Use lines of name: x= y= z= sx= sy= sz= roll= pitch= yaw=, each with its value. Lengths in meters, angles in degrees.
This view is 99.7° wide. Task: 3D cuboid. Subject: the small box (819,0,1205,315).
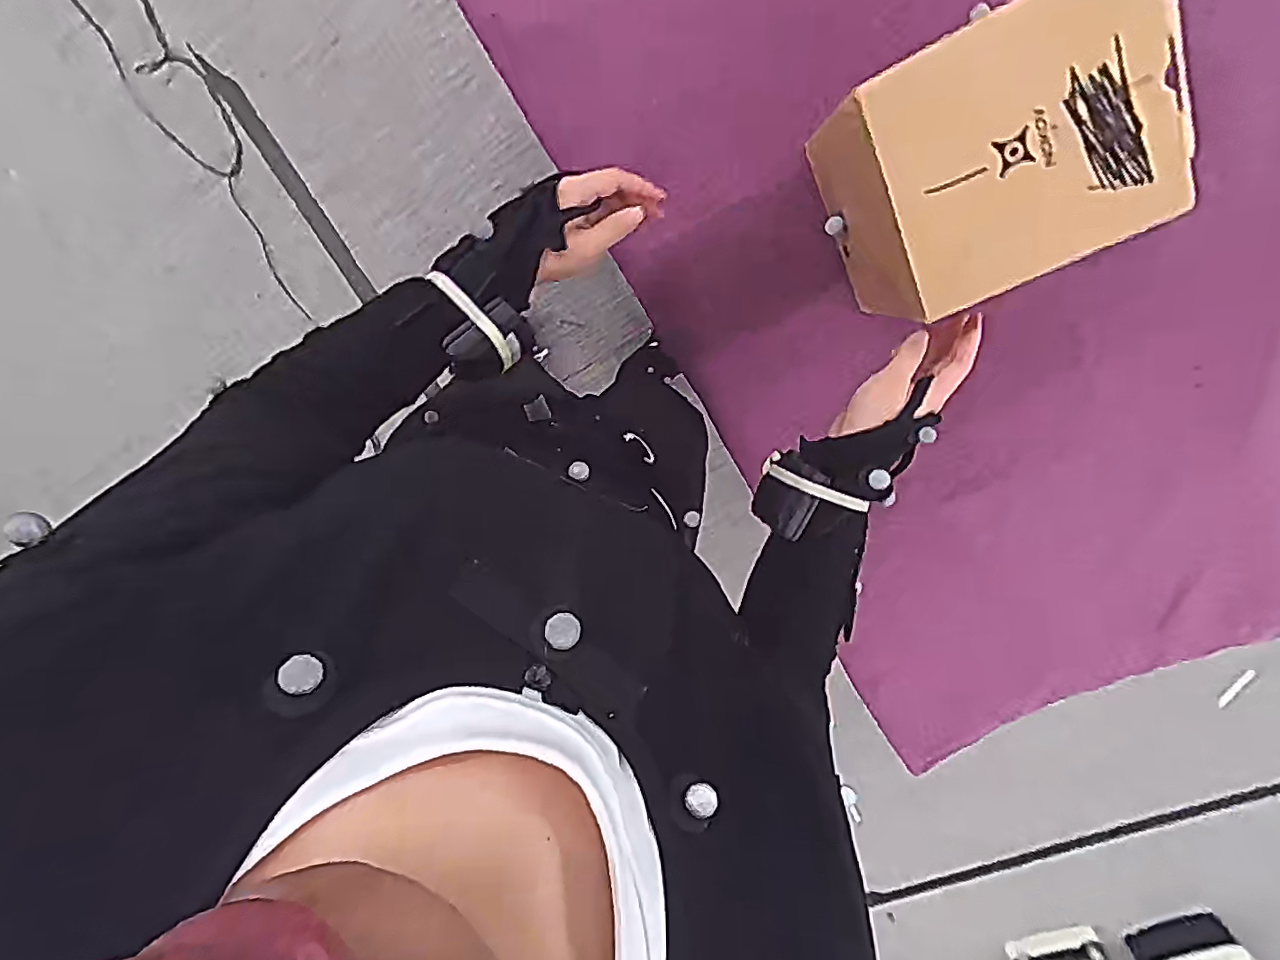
small box: x=0.265 y=-0.248 z=0.424 sx=0.179 sy=0.176 sz=0.168 roll=-23 pitch=106 yaw=13
